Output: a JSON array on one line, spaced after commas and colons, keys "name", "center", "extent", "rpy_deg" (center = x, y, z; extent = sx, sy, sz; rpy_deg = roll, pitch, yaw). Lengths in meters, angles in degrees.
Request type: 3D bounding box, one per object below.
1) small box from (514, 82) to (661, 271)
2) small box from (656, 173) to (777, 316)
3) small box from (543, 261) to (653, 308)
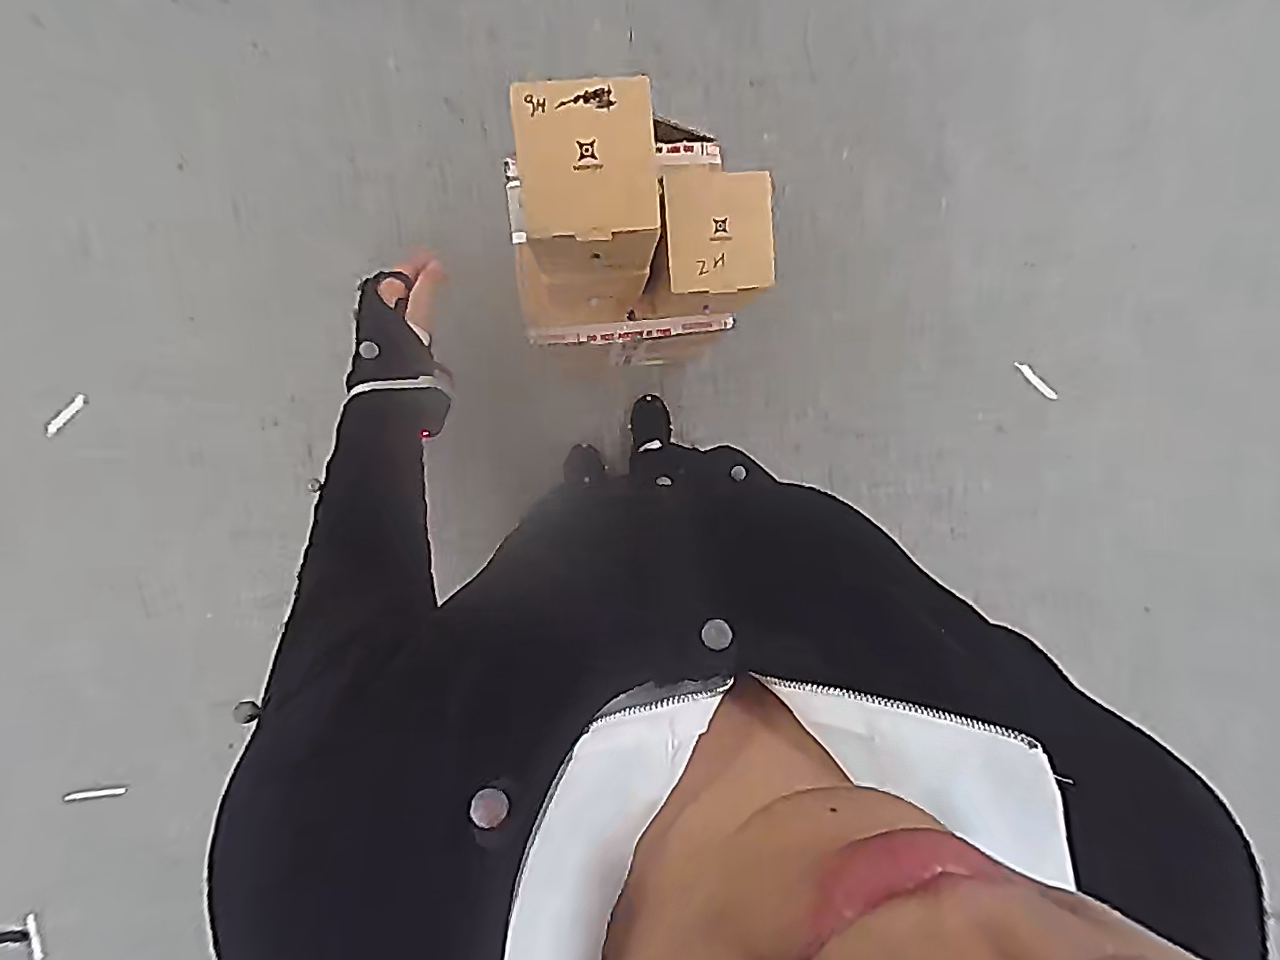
[{"name": "small box", "center": [-0.063, -0.386, 0.721], "extent": [0.168, 0.176, 0.179], "rpy_deg": [-5, 98, -2]}, {"name": "small box", "center": [0.118, -0.382, 0.900], "extent": [0.168, 0.176, 0.179], "rpy_deg": [-5, 97, -5]}, {"name": "small box", "center": [-0.075, -0.393, 0.884], "extent": [0.168, 0.176, 0.179], "rpy_deg": [-7, 98, -2]}]
